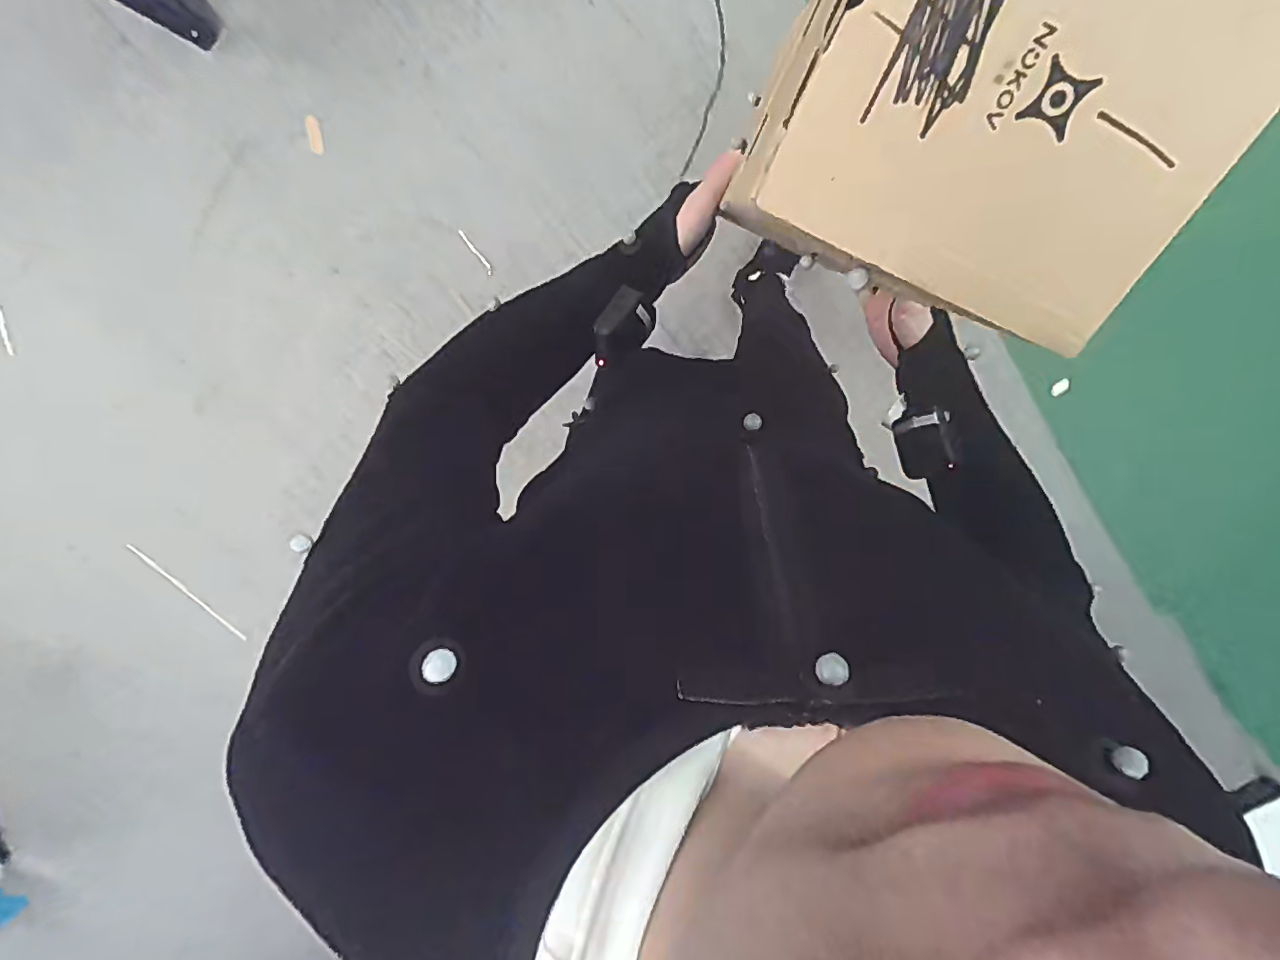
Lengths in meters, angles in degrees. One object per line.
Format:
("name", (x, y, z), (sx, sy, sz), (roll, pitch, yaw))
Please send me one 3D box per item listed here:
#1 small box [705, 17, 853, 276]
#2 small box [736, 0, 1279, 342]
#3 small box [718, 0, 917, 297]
("small box", (0.183, -0.342, 0.582), (0.179, 0.176, 0.168), (22, 115, -7))
("small box", (0.164, -0.197, 0.289), (0.179, 0.176, 0.168), (22, 117, -6))
("small box", (0.173, -0.270, 0.436), (0.179, 0.176, 0.168), (23, 117, -6))
